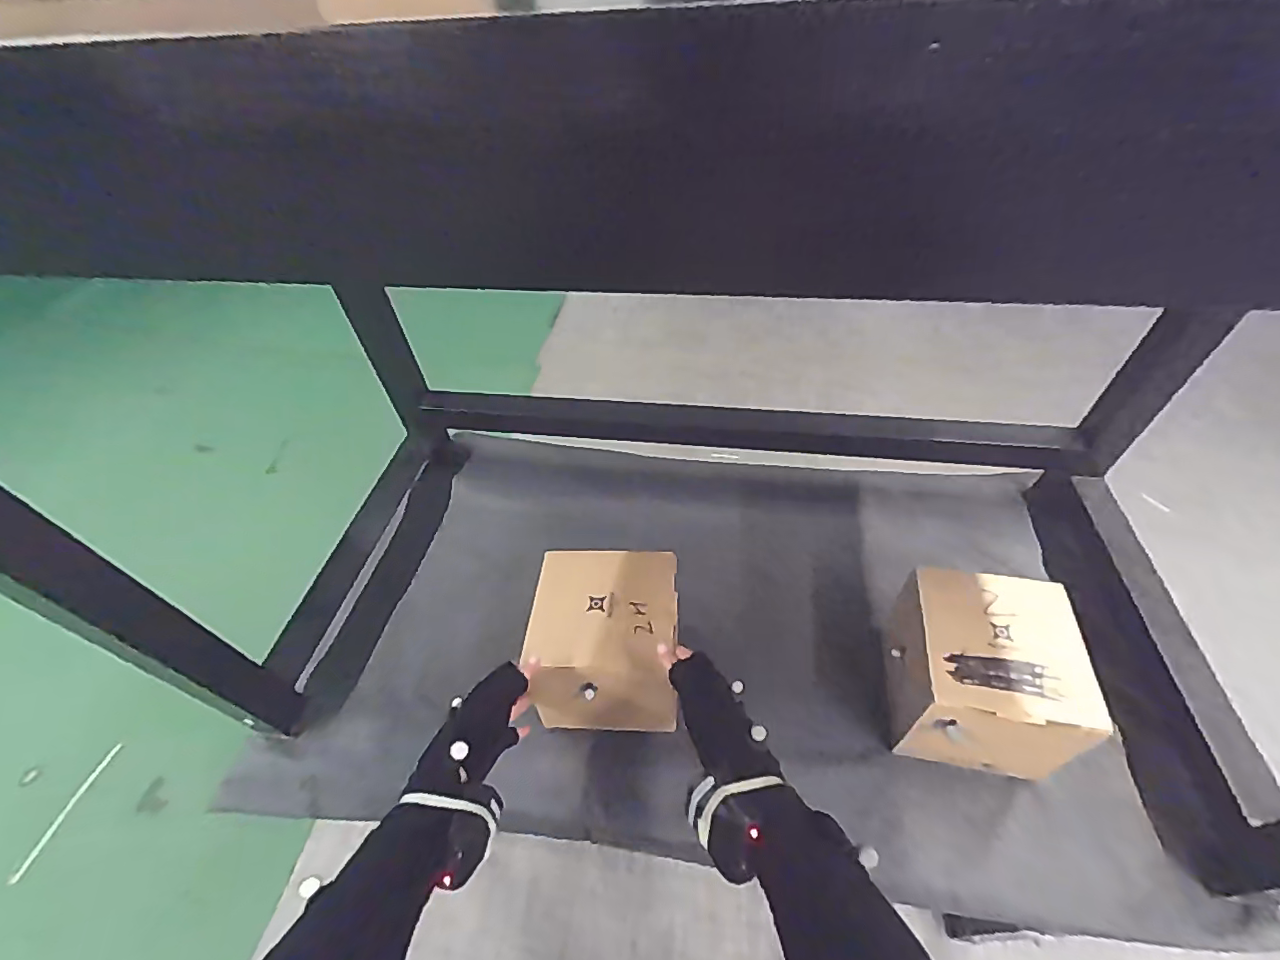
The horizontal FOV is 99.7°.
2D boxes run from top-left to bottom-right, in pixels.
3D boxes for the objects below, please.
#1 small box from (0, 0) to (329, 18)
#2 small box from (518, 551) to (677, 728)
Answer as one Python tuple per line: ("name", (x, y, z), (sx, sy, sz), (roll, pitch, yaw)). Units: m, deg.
("small box", (-0.183, -0.280, 0.188), (0.168, 0.176, 0.179), (4, 48, 8))
("small box", (-0.041, 0.211, 0.711), (0.179, 0.176, 0.168), (1, 45, 5))
